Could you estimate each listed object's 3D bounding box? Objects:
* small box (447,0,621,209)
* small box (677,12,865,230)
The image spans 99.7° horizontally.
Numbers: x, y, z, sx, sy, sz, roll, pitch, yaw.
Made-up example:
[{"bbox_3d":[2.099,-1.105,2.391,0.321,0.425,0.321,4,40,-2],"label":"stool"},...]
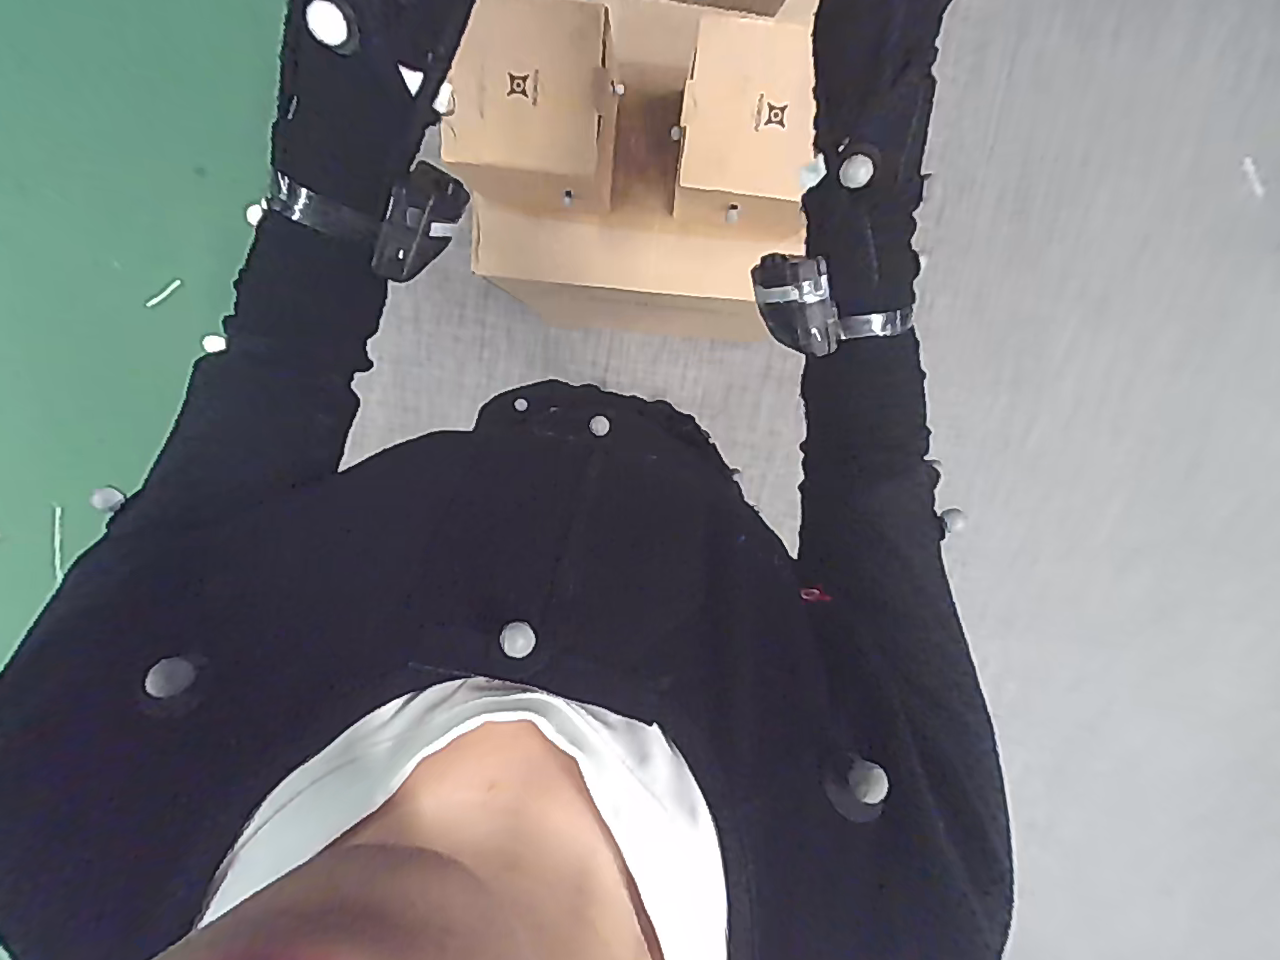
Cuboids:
[{"bbox_3d":[-0.119,-0.443,0.661,0.179,0.176,0.168,5,102,2],"label":"small box"},{"bbox_3d":[0.141,-0.416,0.657,0.179,0.176,0.168,8,104,0],"label":"small box"}]
